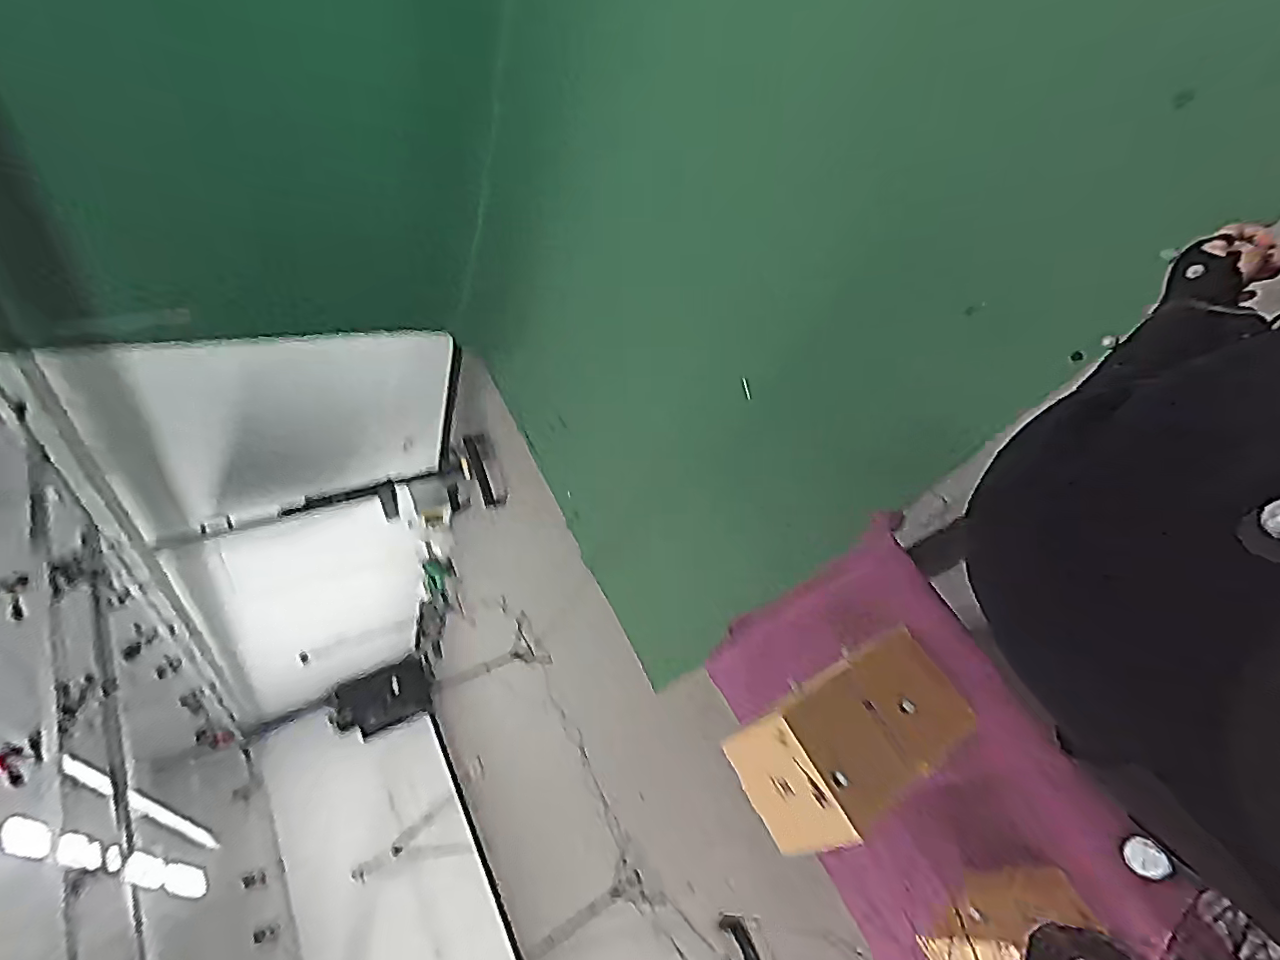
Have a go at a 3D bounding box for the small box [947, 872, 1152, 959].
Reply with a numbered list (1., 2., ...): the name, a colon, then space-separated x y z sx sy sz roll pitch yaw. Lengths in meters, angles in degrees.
1. small box: 0.592 0.689 0.763 0.168 0.176 0.179 59 145 24

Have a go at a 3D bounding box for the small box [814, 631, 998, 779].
1. small box: 0.428 0.368 0.884 0.179 0.176 0.168 56 142 24

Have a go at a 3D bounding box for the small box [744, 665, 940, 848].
1. small box: 0.294 0.403 0.797 0.168 0.176 0.179 56 143 23
